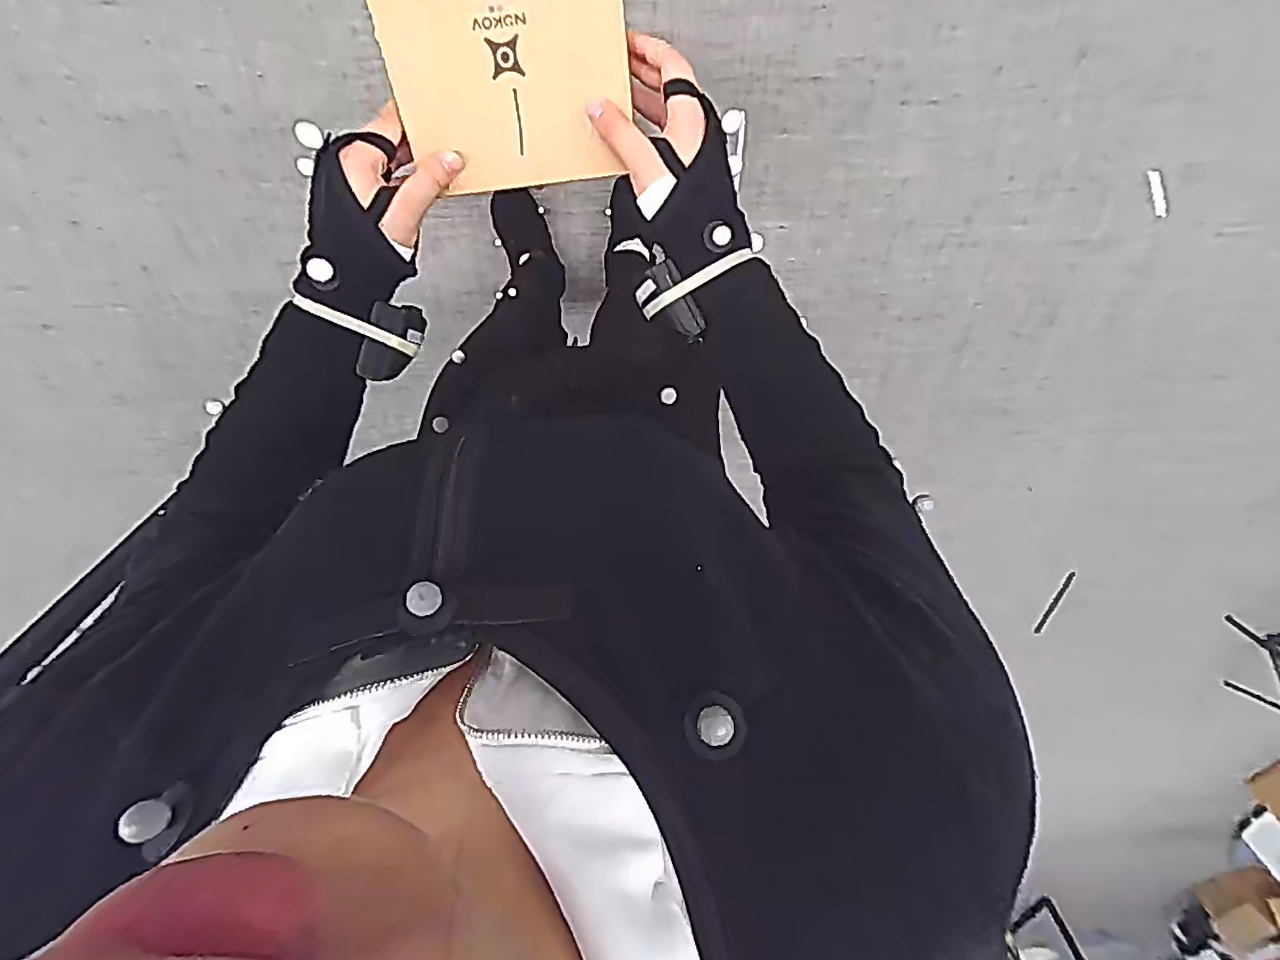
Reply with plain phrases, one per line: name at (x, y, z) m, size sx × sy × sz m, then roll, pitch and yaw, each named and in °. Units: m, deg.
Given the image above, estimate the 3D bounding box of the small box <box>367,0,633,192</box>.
small box at (-0.100, -0.344, 0.428) m, size 0.168 × 0.176 × 0.179 m, roll -7°, pitch 127°, yaw 0°
